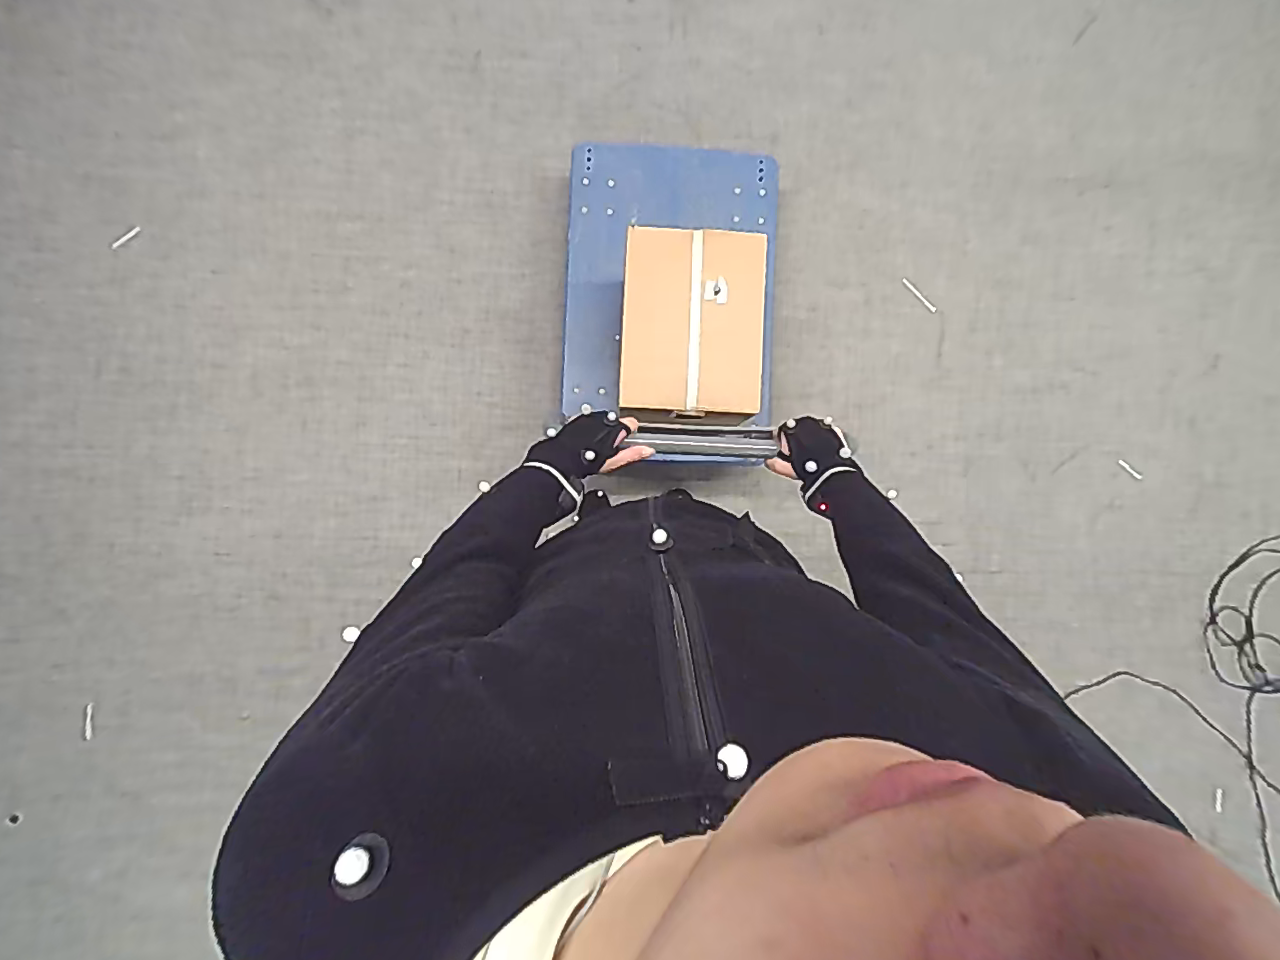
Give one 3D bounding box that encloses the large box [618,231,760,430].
[{"bbox_3d":[0.105,-0.341,1.339,0.320,0.320,0.408,2,87,-3],"label":"large box"}]
